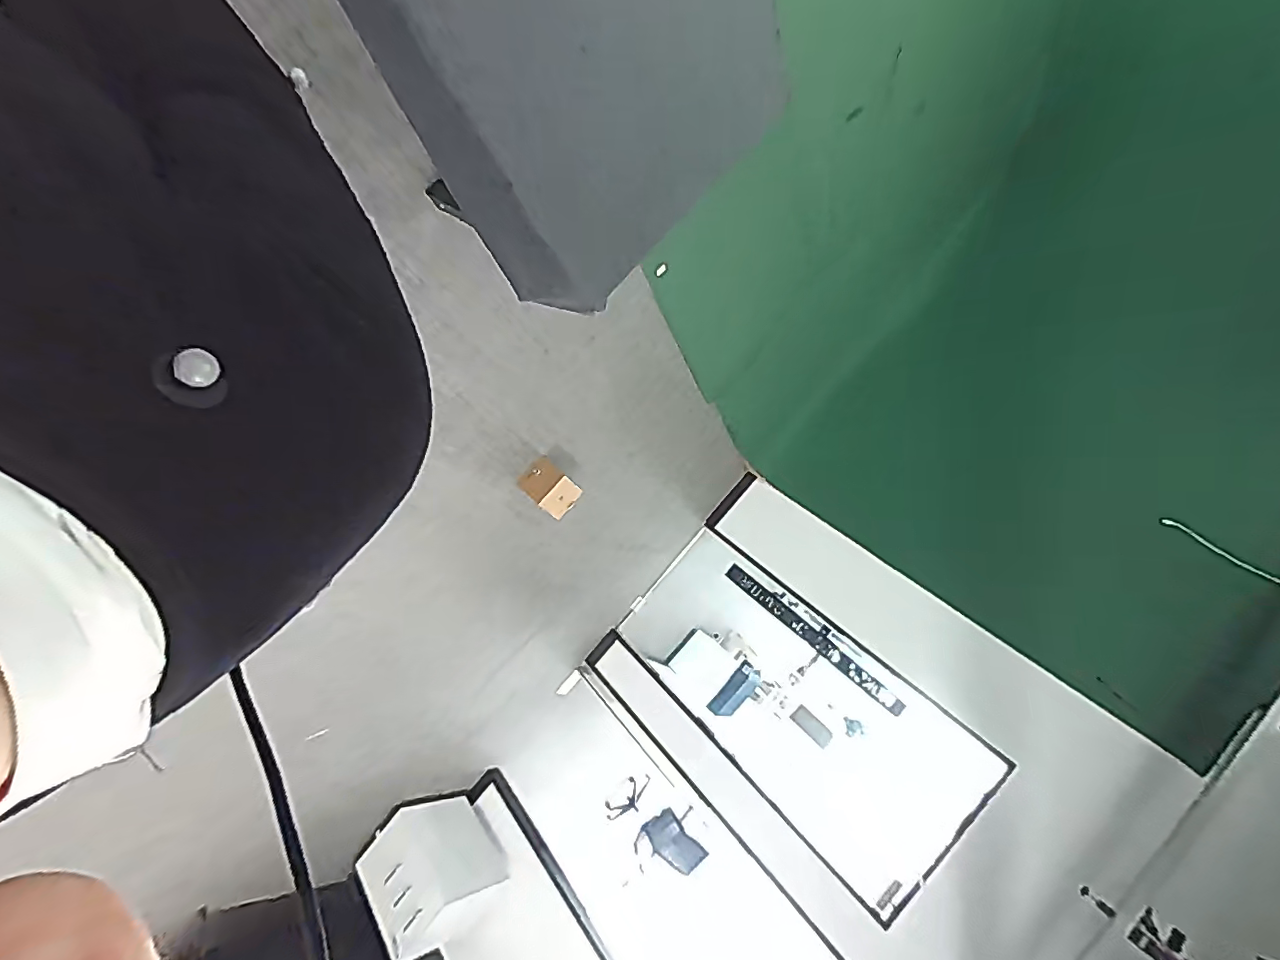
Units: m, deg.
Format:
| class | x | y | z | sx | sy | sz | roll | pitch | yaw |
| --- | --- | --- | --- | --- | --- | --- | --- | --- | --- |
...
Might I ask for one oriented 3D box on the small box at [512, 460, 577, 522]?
| class | x | y | z | sx | sy | sz | roll | pitch | yaw |
| --- | --- | --- | --- | --- | --- | --- | --- | --- | --- |
| small box | -0.403 | 0.042 | 2.285 | 0.168 | 0.176 | 0.179 | -48 | 147 | -8 |
